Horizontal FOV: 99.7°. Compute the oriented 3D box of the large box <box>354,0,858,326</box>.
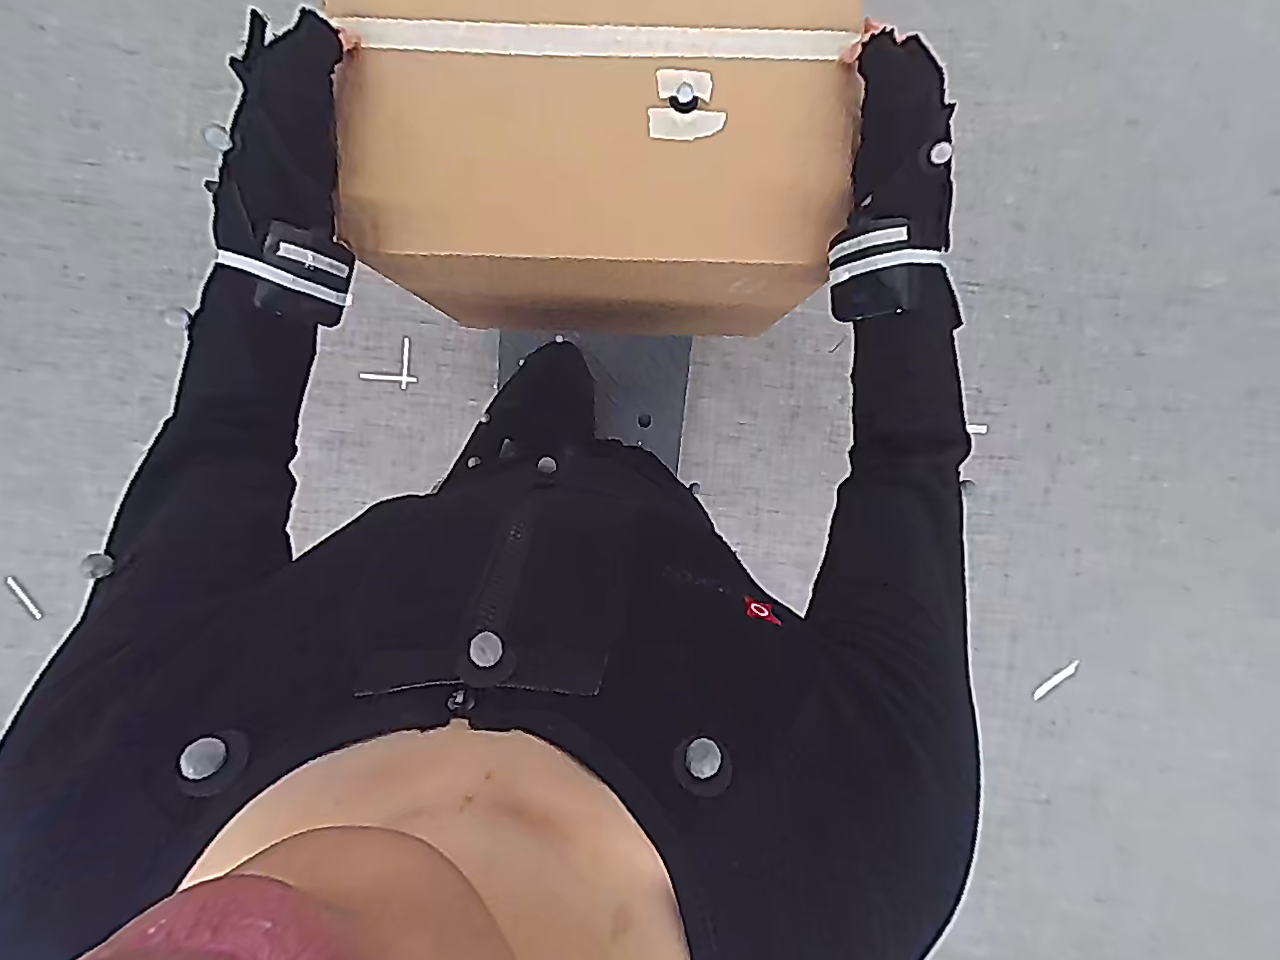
[{"bbox_3d":[-0.030,-0.351,0.575,0.408,0.320,0.320,1,95,-1],"label":"large box"}]
